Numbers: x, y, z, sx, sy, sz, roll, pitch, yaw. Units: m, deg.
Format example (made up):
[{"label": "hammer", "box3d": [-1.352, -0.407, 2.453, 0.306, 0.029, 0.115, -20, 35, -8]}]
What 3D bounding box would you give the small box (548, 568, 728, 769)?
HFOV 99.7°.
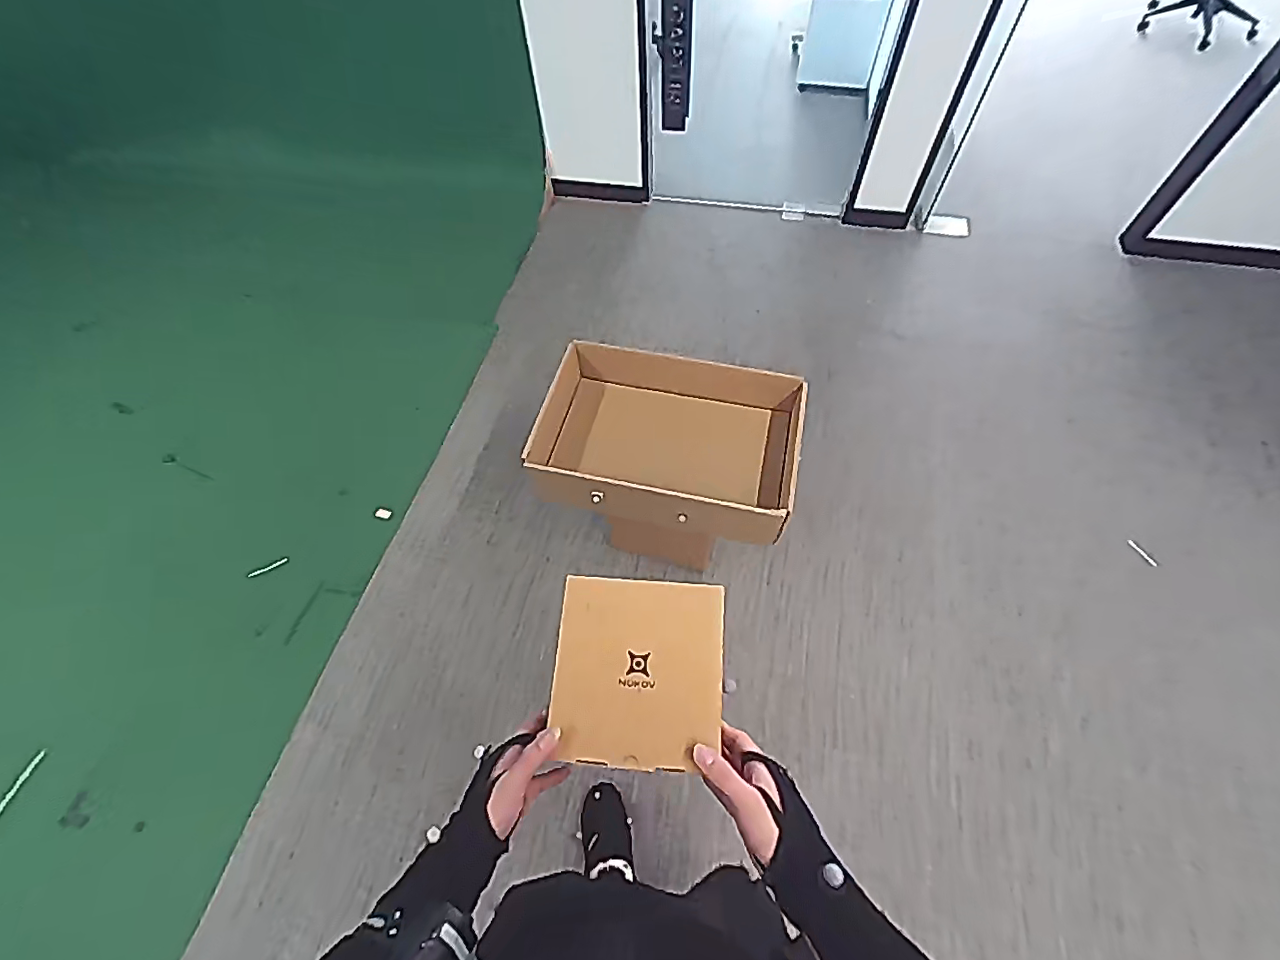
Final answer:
[{"label": "small box", "box3d": [0.004, 0.206, 0.603, 0.168, 0.176, 0.179, 3, 70, 4]}]
